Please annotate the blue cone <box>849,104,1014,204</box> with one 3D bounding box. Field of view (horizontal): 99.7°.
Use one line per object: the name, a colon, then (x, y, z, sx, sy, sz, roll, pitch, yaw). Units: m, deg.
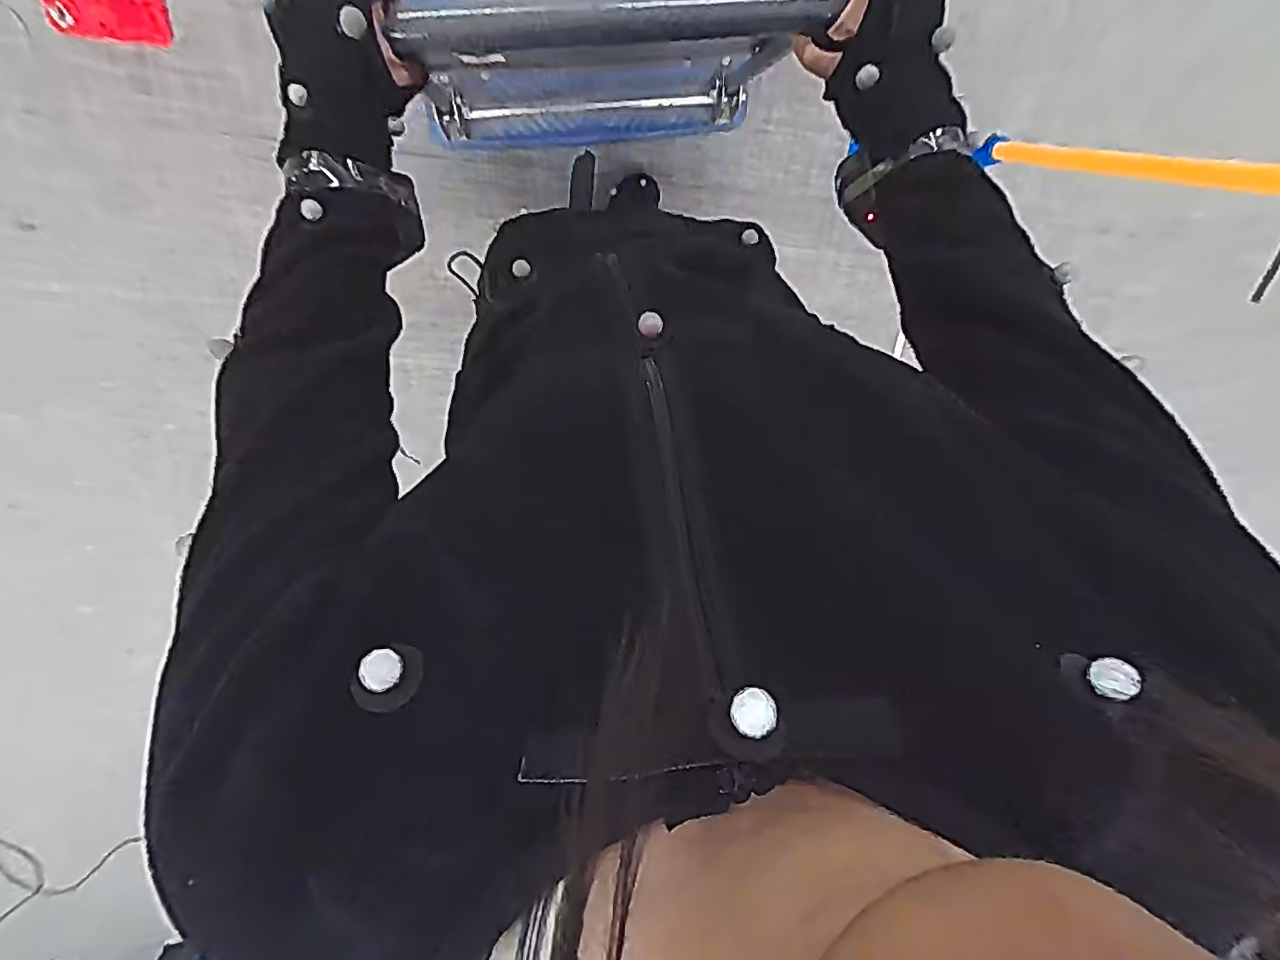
blue cone: (0.587, -0.654, 1.072, 0.193, 0.380, 0.192, -1, 118, -7)
